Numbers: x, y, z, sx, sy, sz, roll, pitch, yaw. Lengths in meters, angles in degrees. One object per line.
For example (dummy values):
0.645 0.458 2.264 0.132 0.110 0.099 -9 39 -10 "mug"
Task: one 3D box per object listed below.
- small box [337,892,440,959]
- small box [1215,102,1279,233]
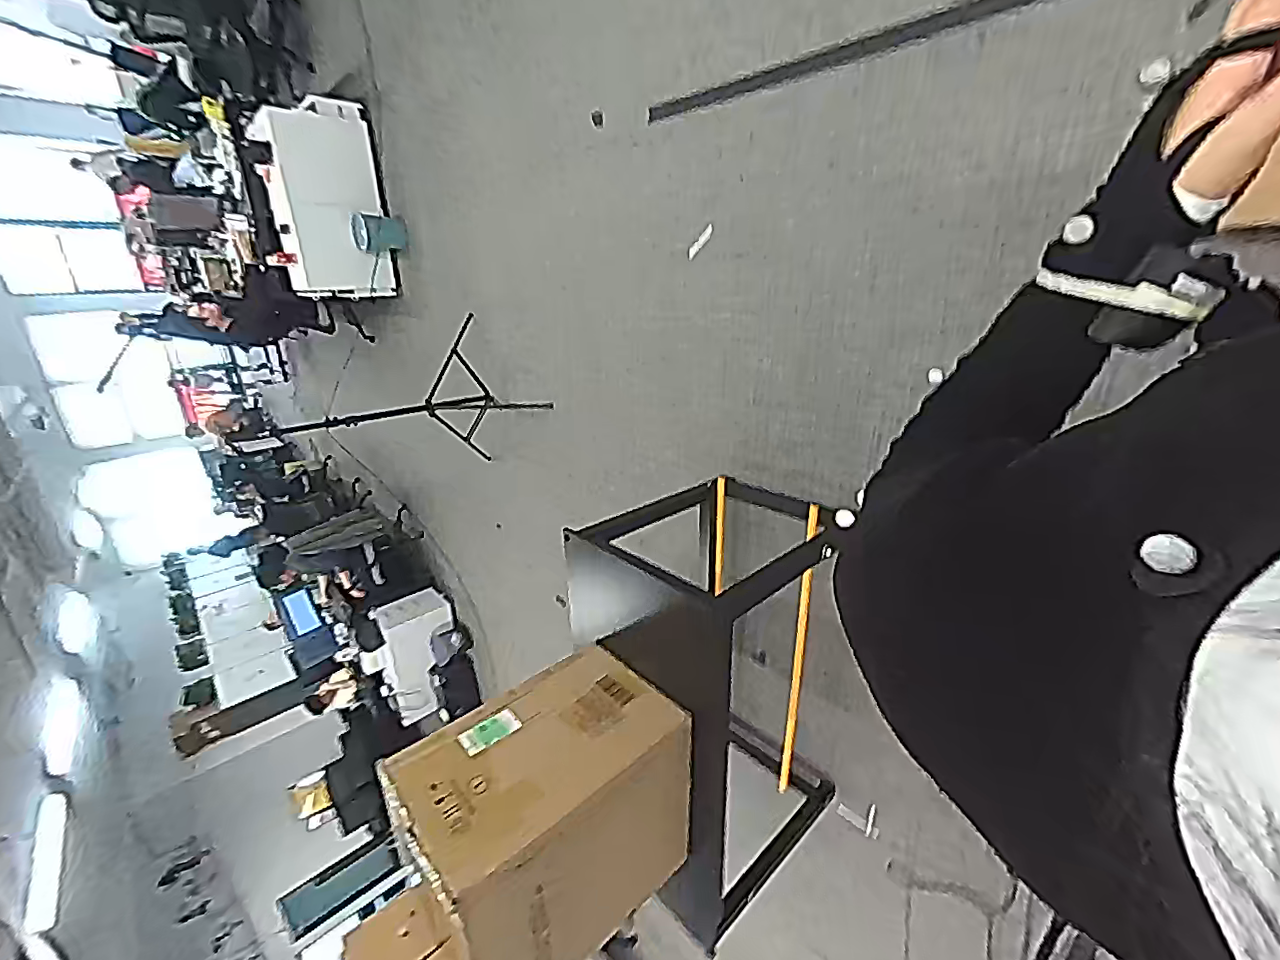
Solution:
-0.555 1.095 1.213 0.168 0.176 0.179 21 119 45 "small box"
1.054 -0.493 0.851 0.168 0.176 0.179 20 120 46 "small box"
